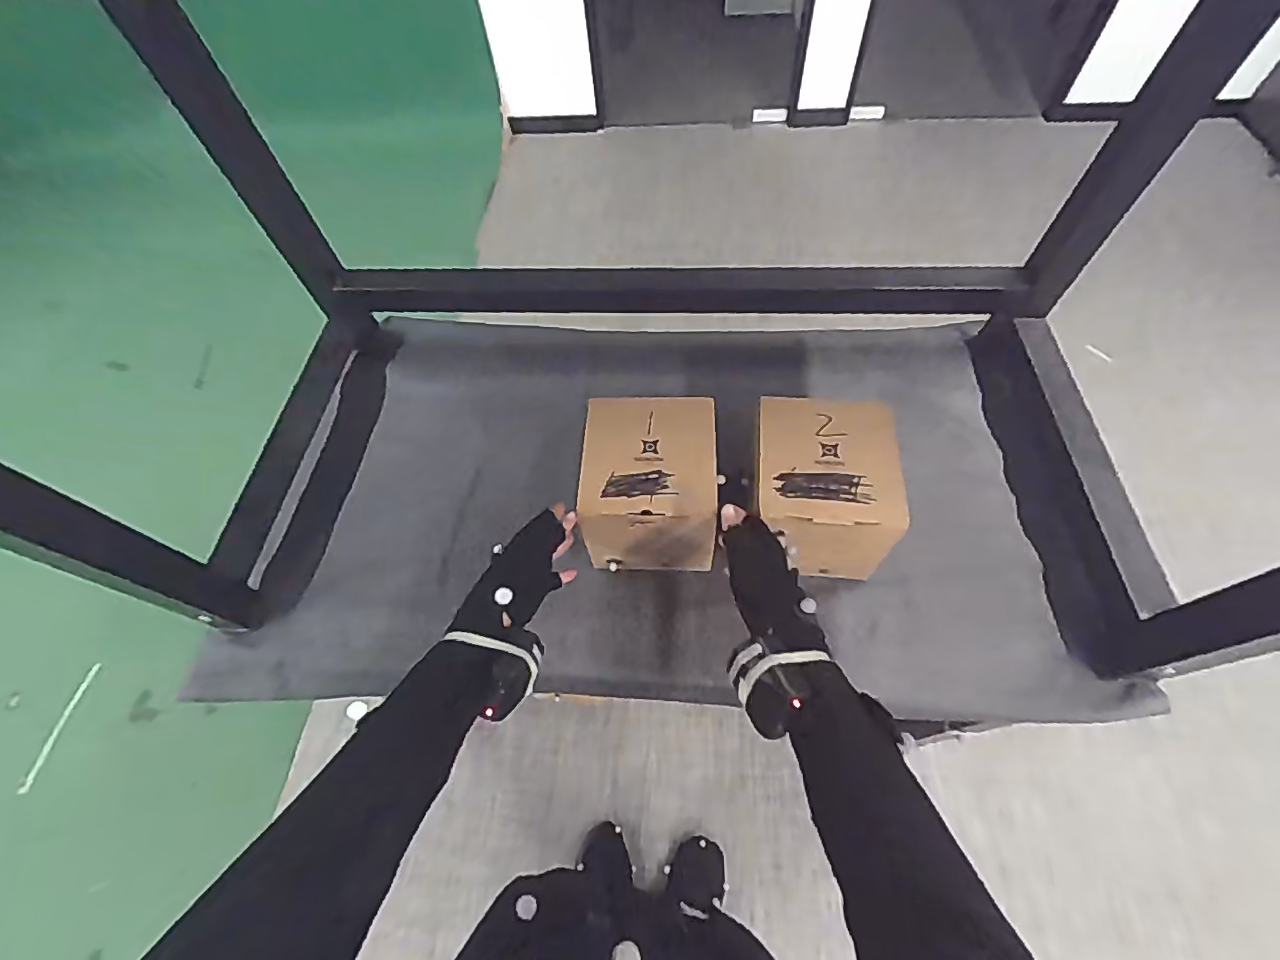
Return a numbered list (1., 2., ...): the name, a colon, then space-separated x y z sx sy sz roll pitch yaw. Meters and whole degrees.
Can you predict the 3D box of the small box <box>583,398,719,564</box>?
1. small box: 0.023 0.007 0.749 0.168 0.176 0.179 1 58 4
